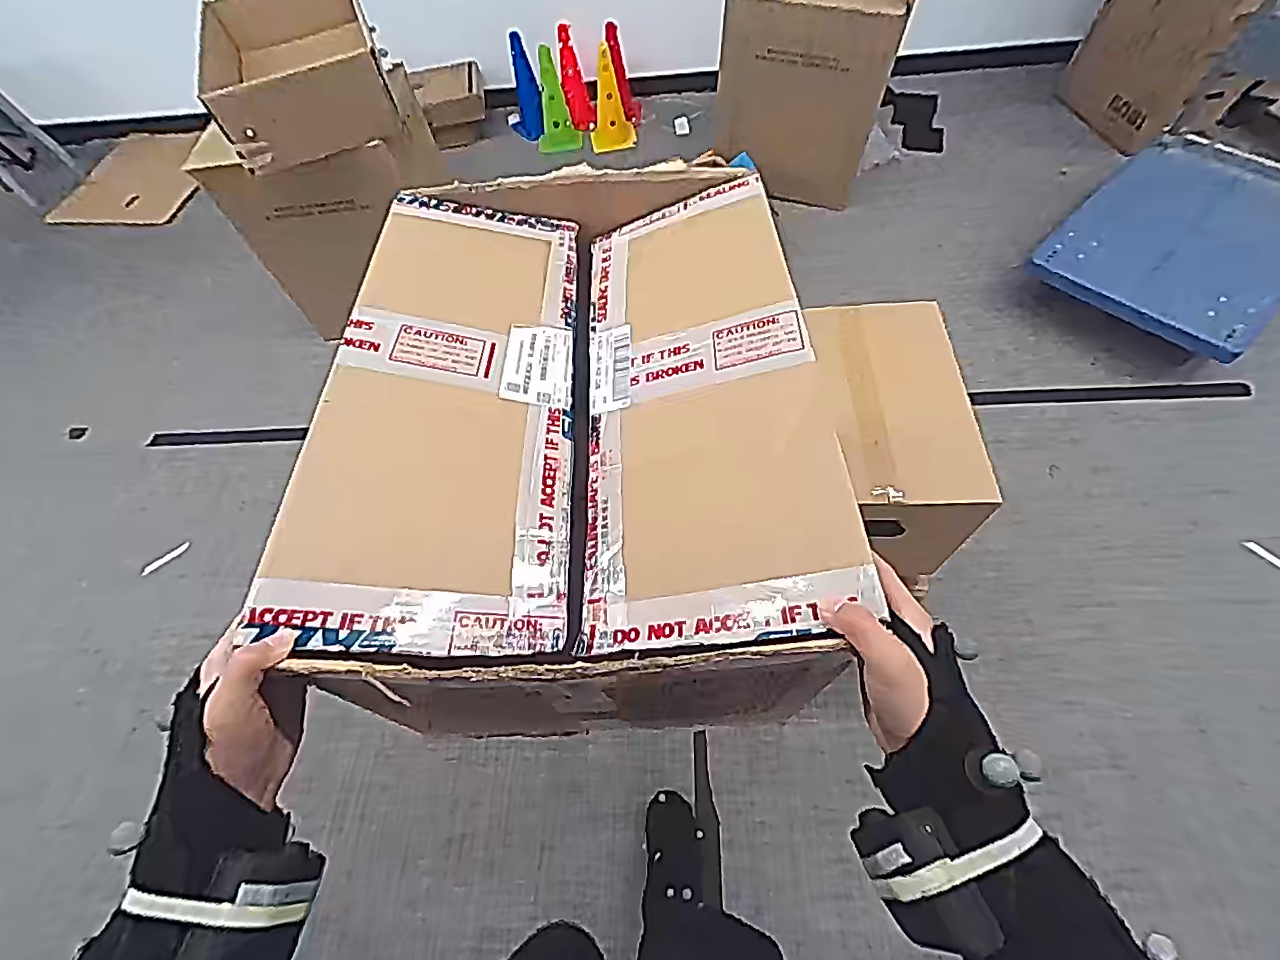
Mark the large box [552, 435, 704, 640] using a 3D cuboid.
[{"bbox_3d":[-0.021,0.145,1.297,0.320,0.320,0.408,-3,61,4],"label":"large box"}]
